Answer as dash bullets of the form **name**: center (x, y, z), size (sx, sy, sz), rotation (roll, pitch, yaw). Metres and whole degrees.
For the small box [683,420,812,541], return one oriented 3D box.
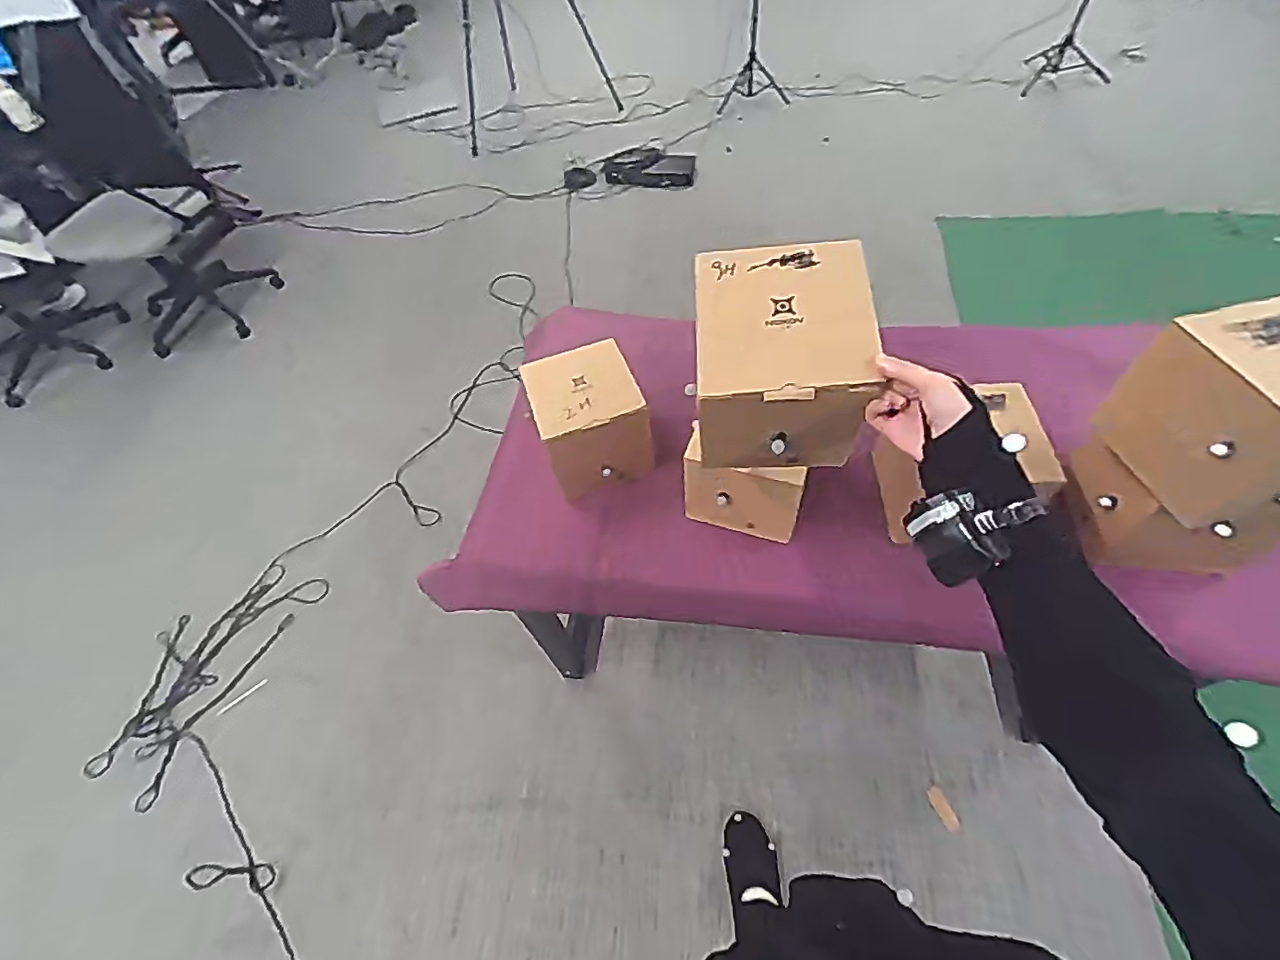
- **small box**: center (0.174, -0.030, 0.832), size (0.168, 0.176, 0.179), rotation (14, 57, 16)

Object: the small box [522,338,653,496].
- **small box**: center (-0.084, -0.103, 0.907), size (0.168, 0.176, 0.179), rotation (-18, 55, -6)

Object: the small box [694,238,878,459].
- **small box**: center (0.148, -0.130, 0.592), size (0.168, 0.176, 0.179), rotation (-1, 68, 8)

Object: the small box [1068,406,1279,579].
- **small box**: center (0.724, 0.020, 0.732), size (0.179, 0.176, 0.168), rotation (5, 55, 10)

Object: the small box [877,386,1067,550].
- **small box**: center (0.461, -0.017, 0.789), size (0.168, 0.176, 0.179), rotation (1, 55, 7)
